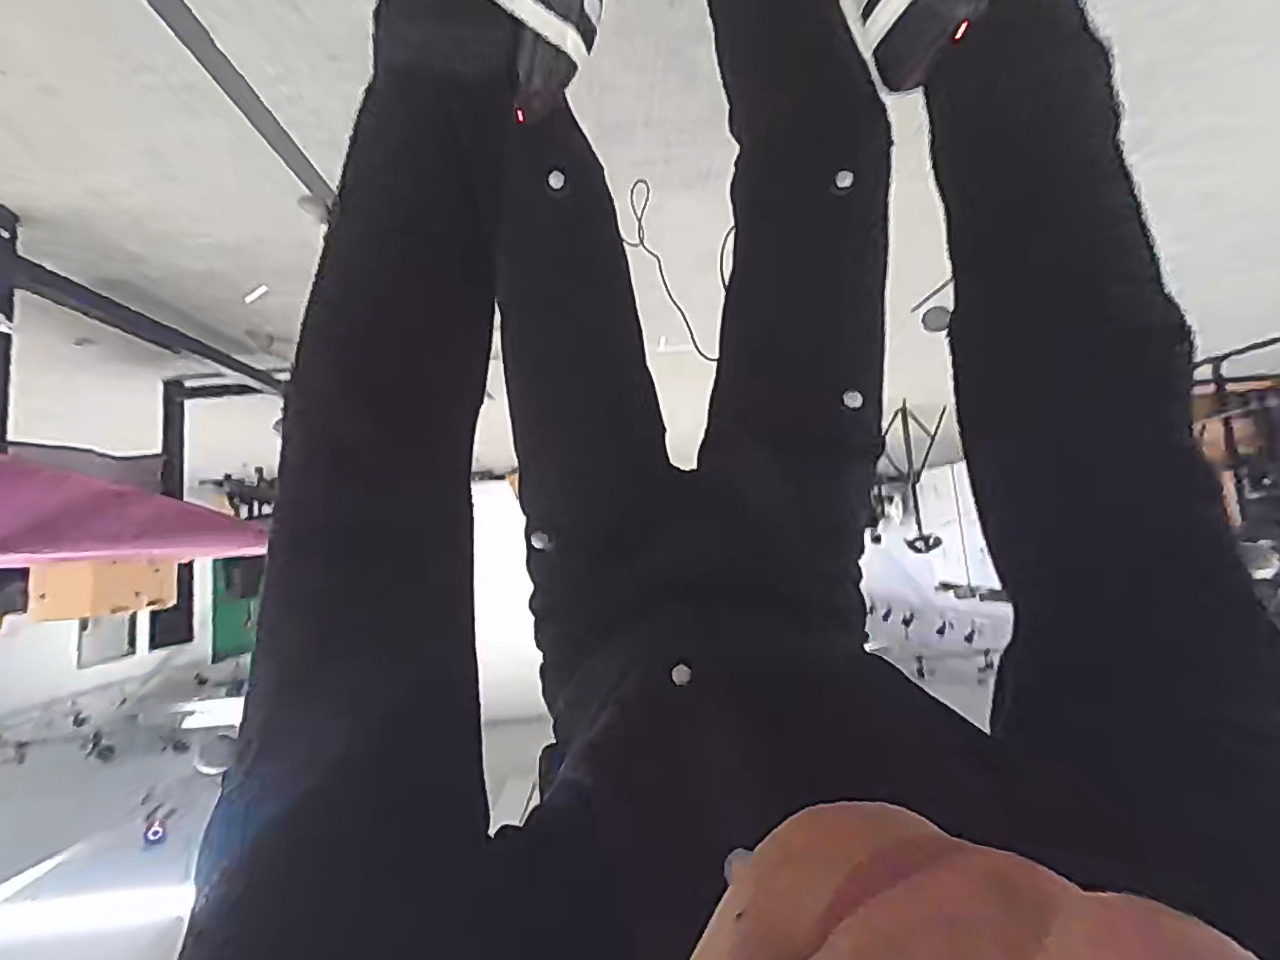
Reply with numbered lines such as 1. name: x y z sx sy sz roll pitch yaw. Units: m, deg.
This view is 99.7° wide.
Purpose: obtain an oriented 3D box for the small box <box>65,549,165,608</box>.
1. small box: -1.693 0.315 1.753 0.179 0.176 0.168 -5 175 -2
